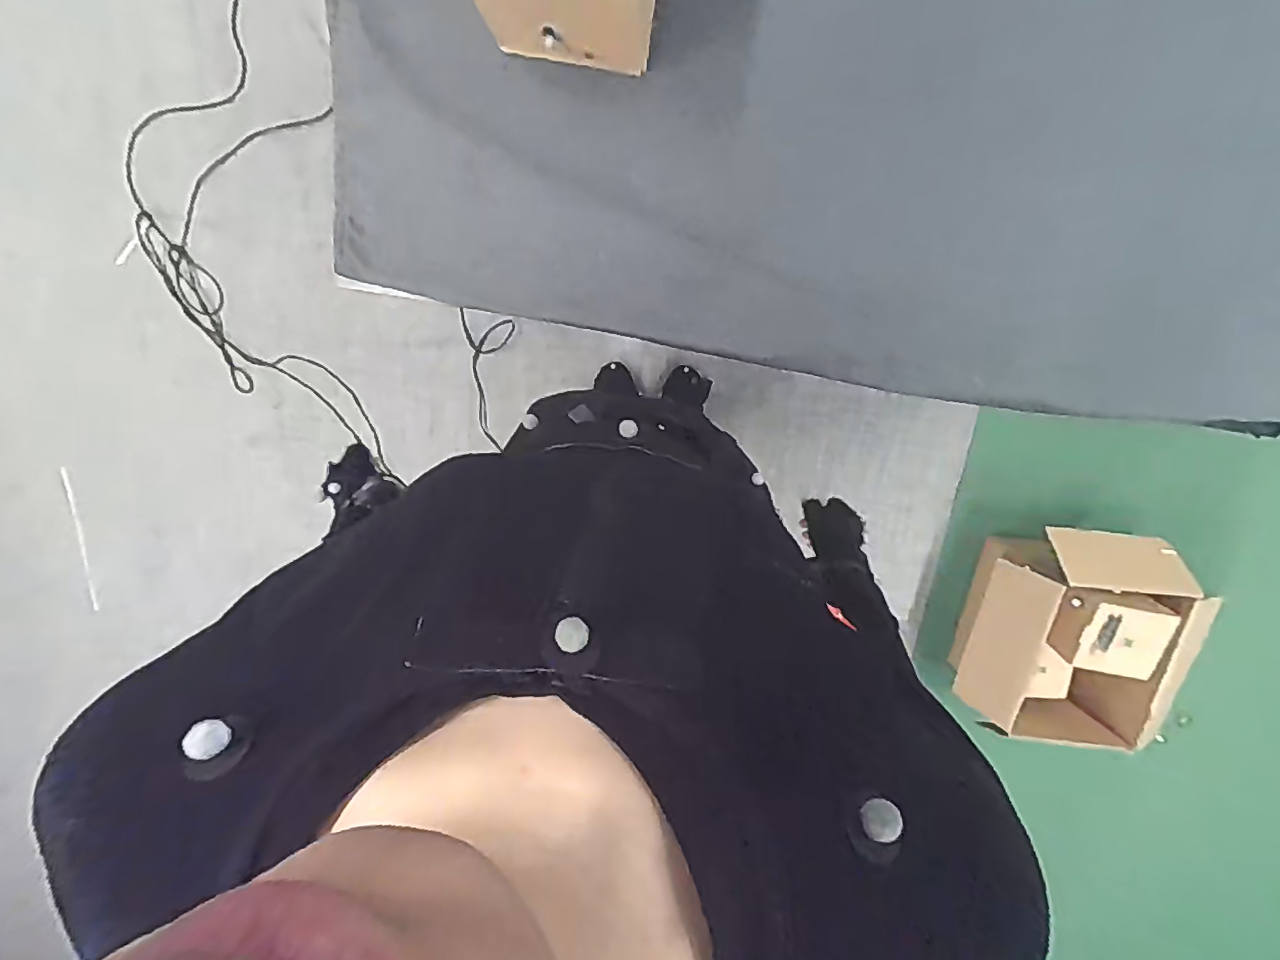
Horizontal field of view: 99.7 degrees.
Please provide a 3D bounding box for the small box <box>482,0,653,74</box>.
[{"bbox_3d":[-0.067,-0.529,0.506,0.168,0.176,0.179,9,107,0],"label":"small box"}]
